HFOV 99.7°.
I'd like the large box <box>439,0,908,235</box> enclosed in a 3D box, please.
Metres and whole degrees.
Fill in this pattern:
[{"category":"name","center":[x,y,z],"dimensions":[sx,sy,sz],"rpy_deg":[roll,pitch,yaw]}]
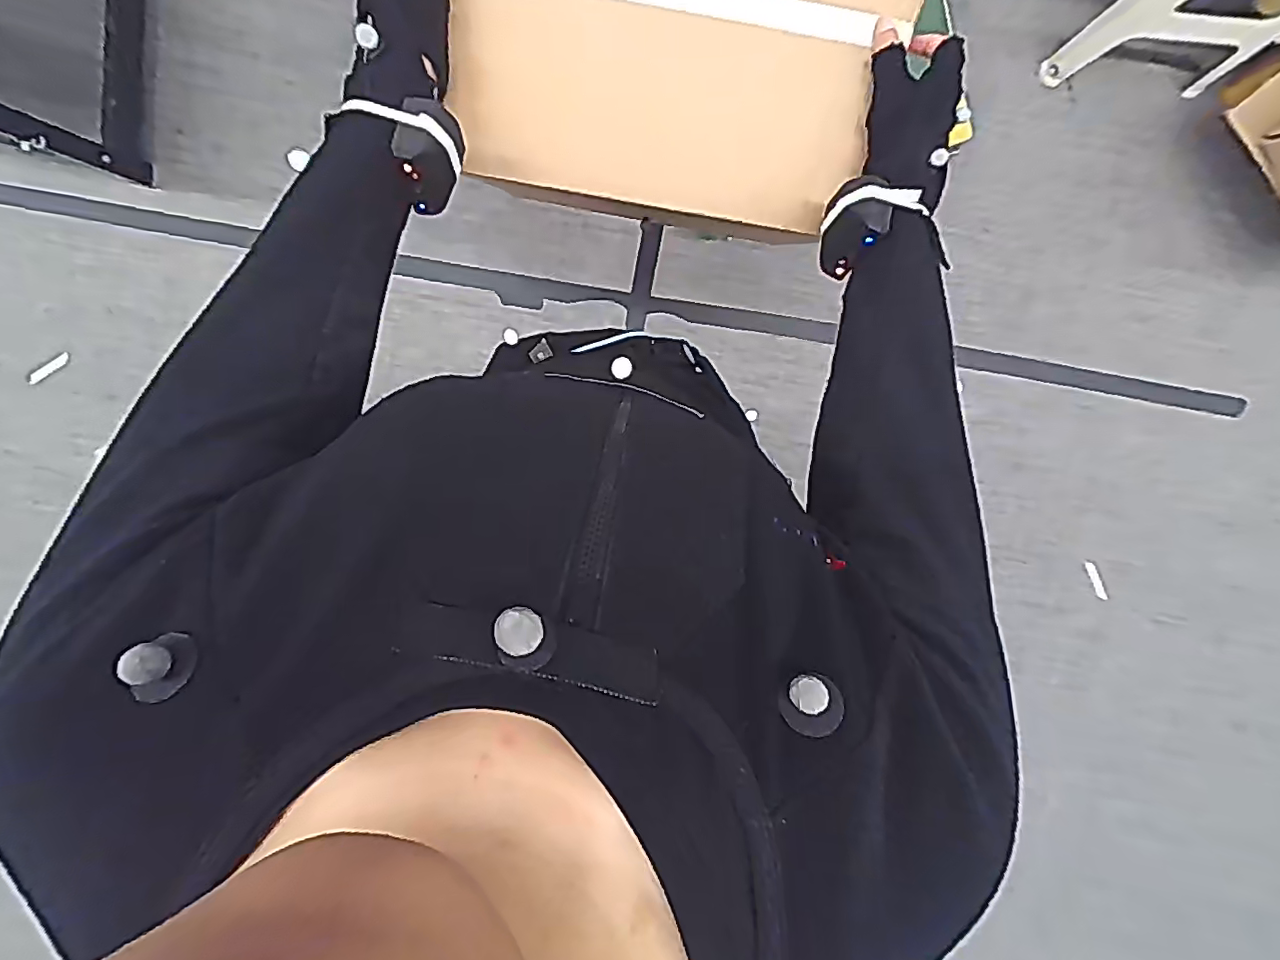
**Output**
[{"category":"large box","center":[0.033,-0.467,0.600],"dimensions":[0.408,0.320,0.320],"rpy_deg":[9,112,-2]}]
